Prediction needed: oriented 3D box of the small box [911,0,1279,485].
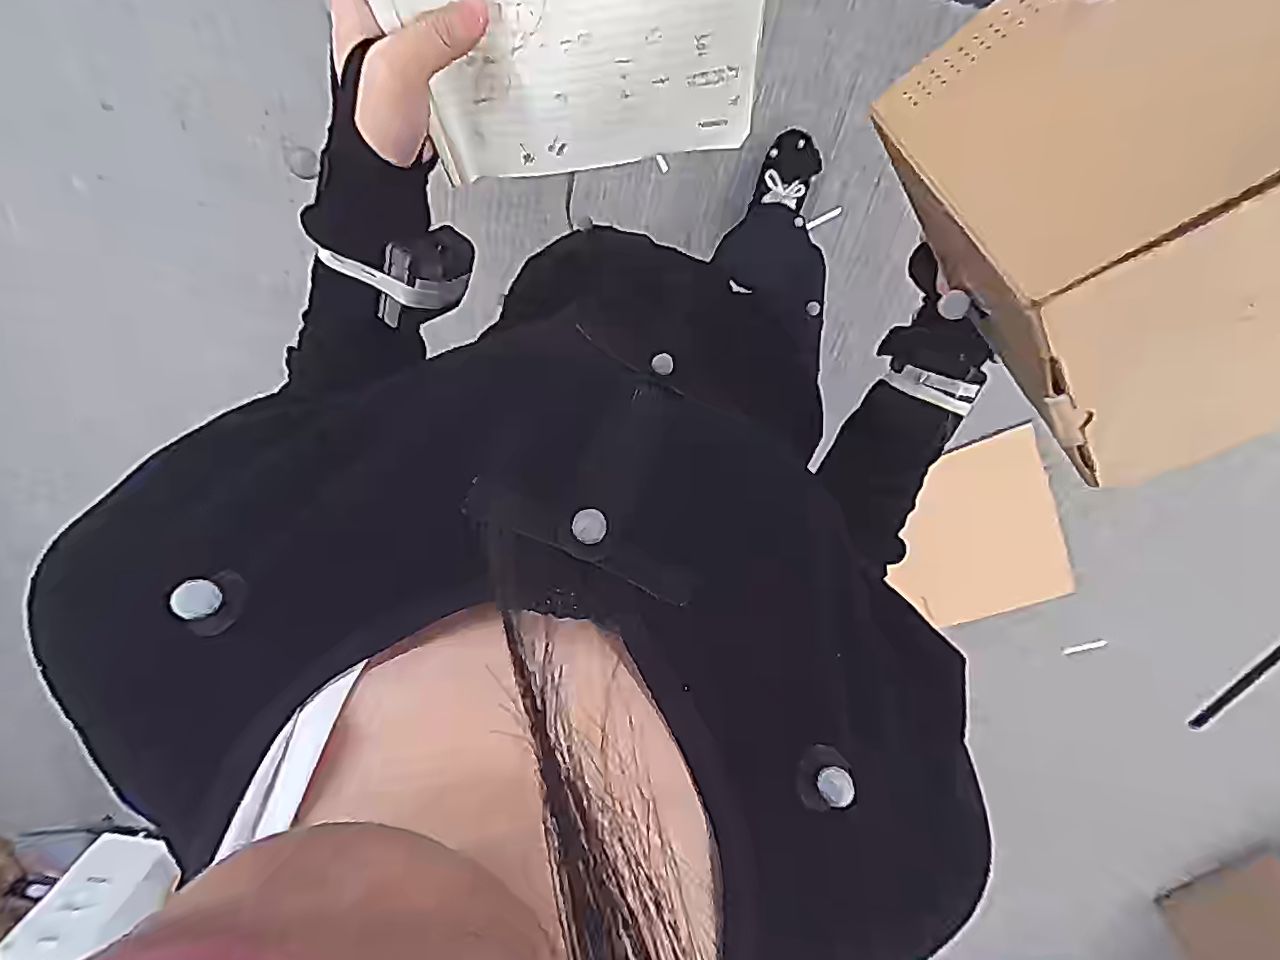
[{"bbox_3d":[0.244,-0.130,0.235,0.179,0.176,0.168,-30,138,31],"label":"small box"}]
